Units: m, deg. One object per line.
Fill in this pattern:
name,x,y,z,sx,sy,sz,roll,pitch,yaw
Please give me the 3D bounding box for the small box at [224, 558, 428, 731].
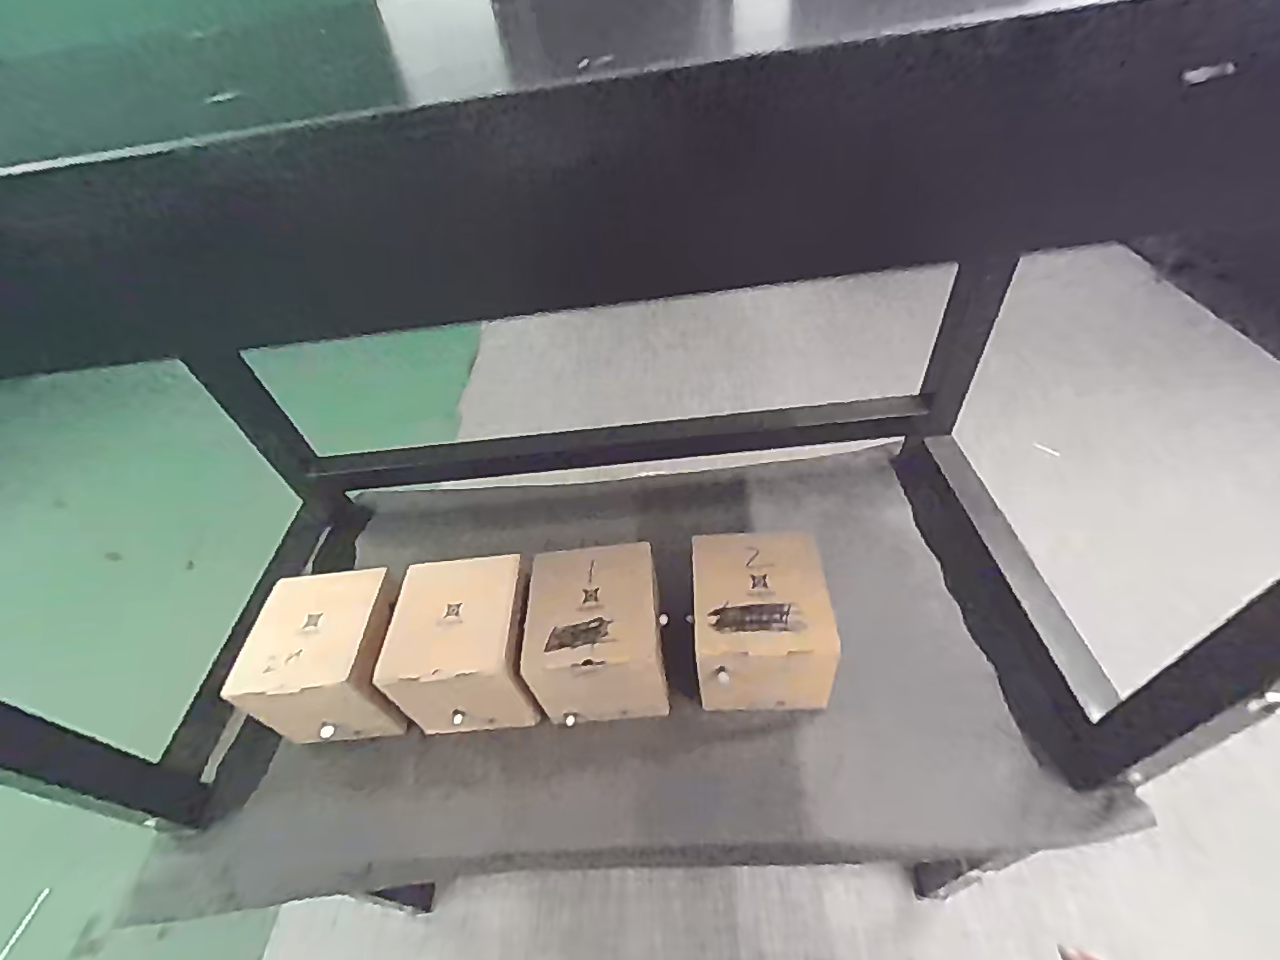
small box,-0.428,0.237,0.778,0.168,0.176,0.179,-7,46,4
